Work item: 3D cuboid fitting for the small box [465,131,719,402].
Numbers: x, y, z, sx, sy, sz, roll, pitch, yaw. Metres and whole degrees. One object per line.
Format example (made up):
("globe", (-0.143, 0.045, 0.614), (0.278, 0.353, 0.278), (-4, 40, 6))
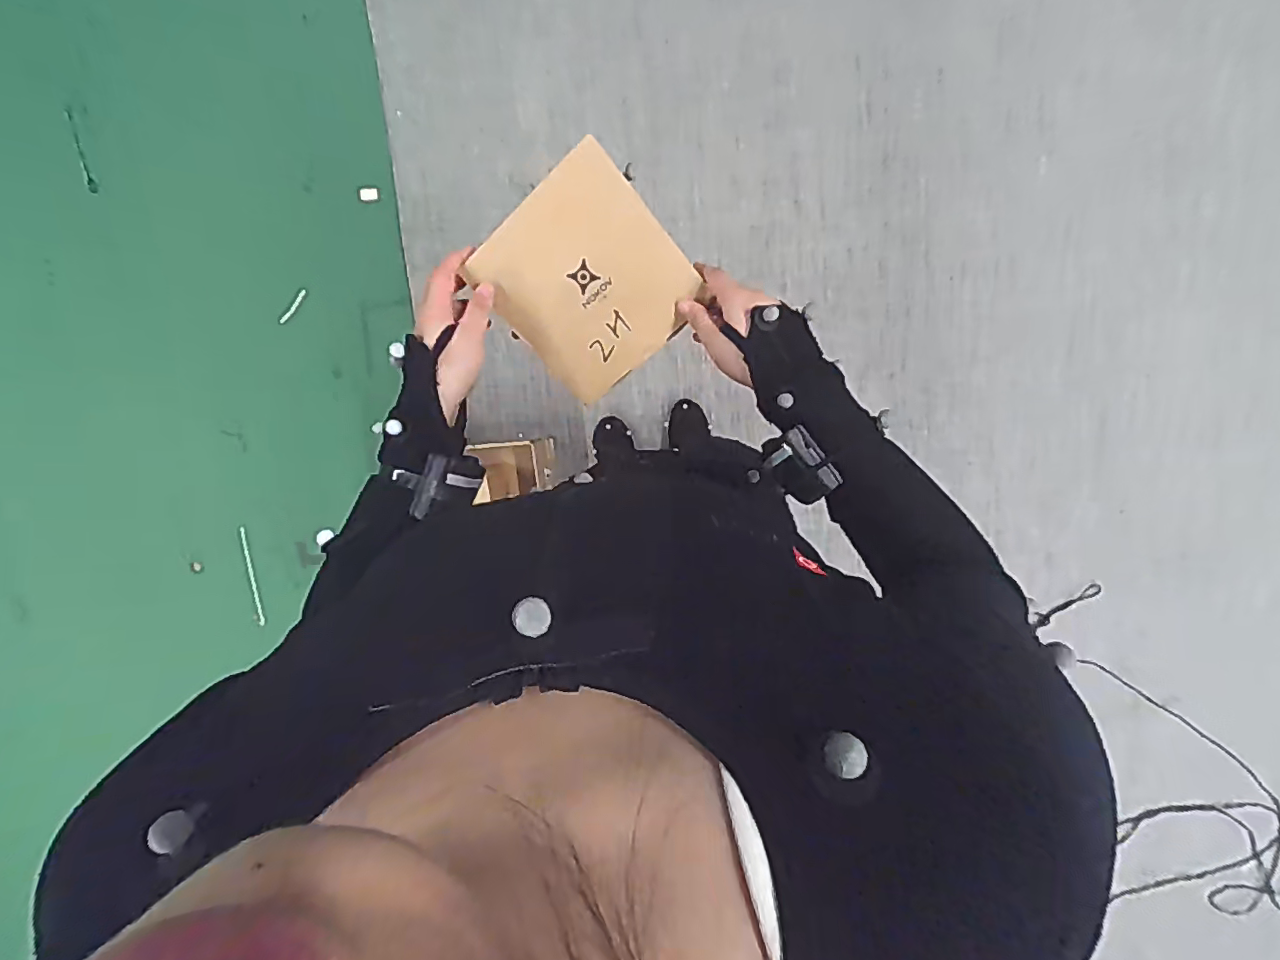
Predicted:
("small box", (-0.046, -0.217, 0.564), (0.168, 0.176, 0.179), (-38, 113, 16))

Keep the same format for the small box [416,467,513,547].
("small box", (-0.447, 0.065, 1.401), (0.179, 0.176, 0.168), (-7, 100, 4))
